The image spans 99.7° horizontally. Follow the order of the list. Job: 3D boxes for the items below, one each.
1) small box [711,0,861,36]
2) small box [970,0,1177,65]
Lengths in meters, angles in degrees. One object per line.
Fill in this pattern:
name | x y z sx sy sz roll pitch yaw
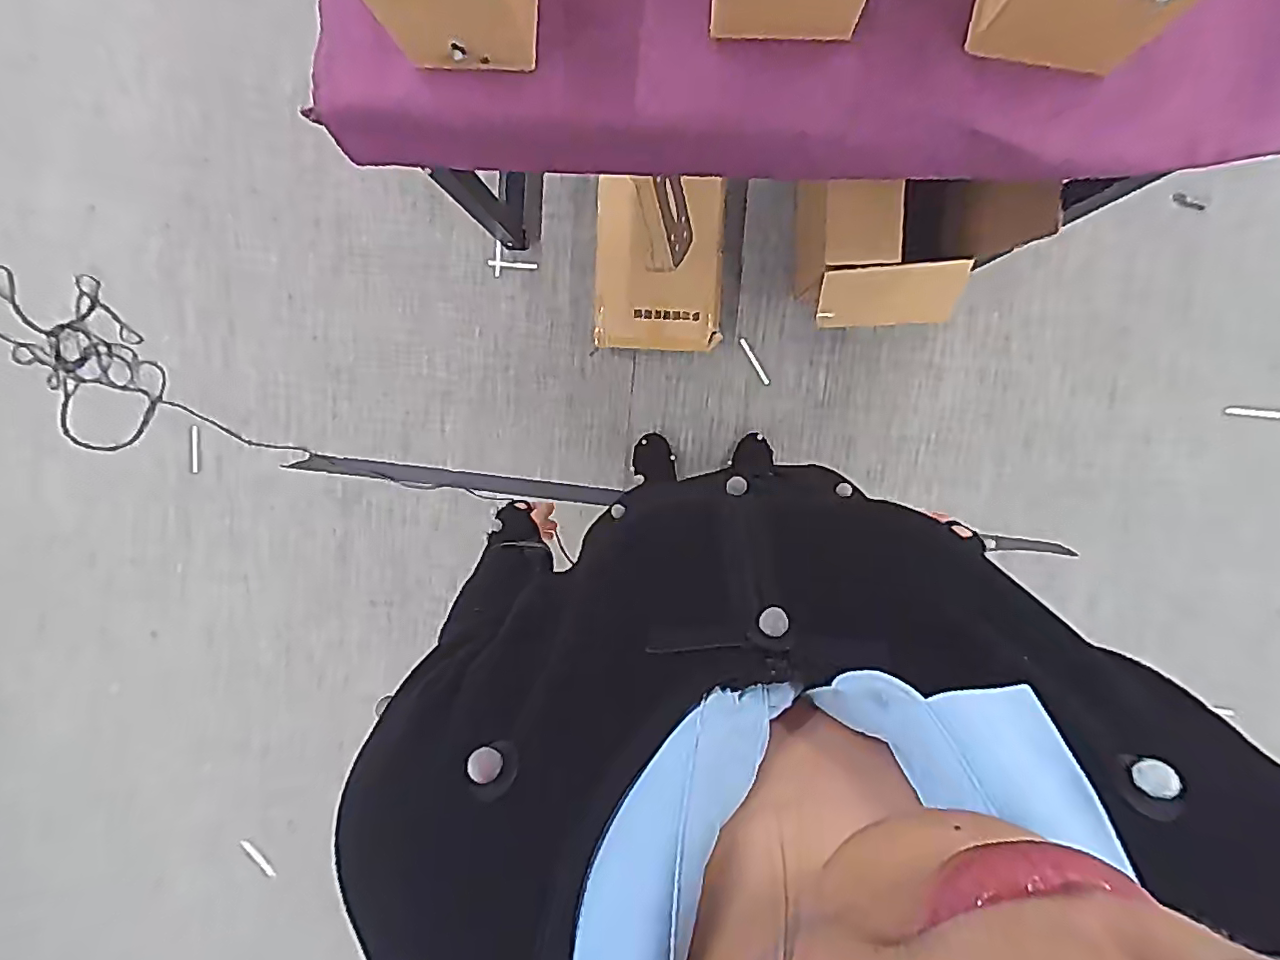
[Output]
small box | 0.175 -0.627 0.587 0.179 0.176 0.168 3 95 4
small box | 0.491 -0.583 0.570 0.179 0.176 0.168 11 98 2
